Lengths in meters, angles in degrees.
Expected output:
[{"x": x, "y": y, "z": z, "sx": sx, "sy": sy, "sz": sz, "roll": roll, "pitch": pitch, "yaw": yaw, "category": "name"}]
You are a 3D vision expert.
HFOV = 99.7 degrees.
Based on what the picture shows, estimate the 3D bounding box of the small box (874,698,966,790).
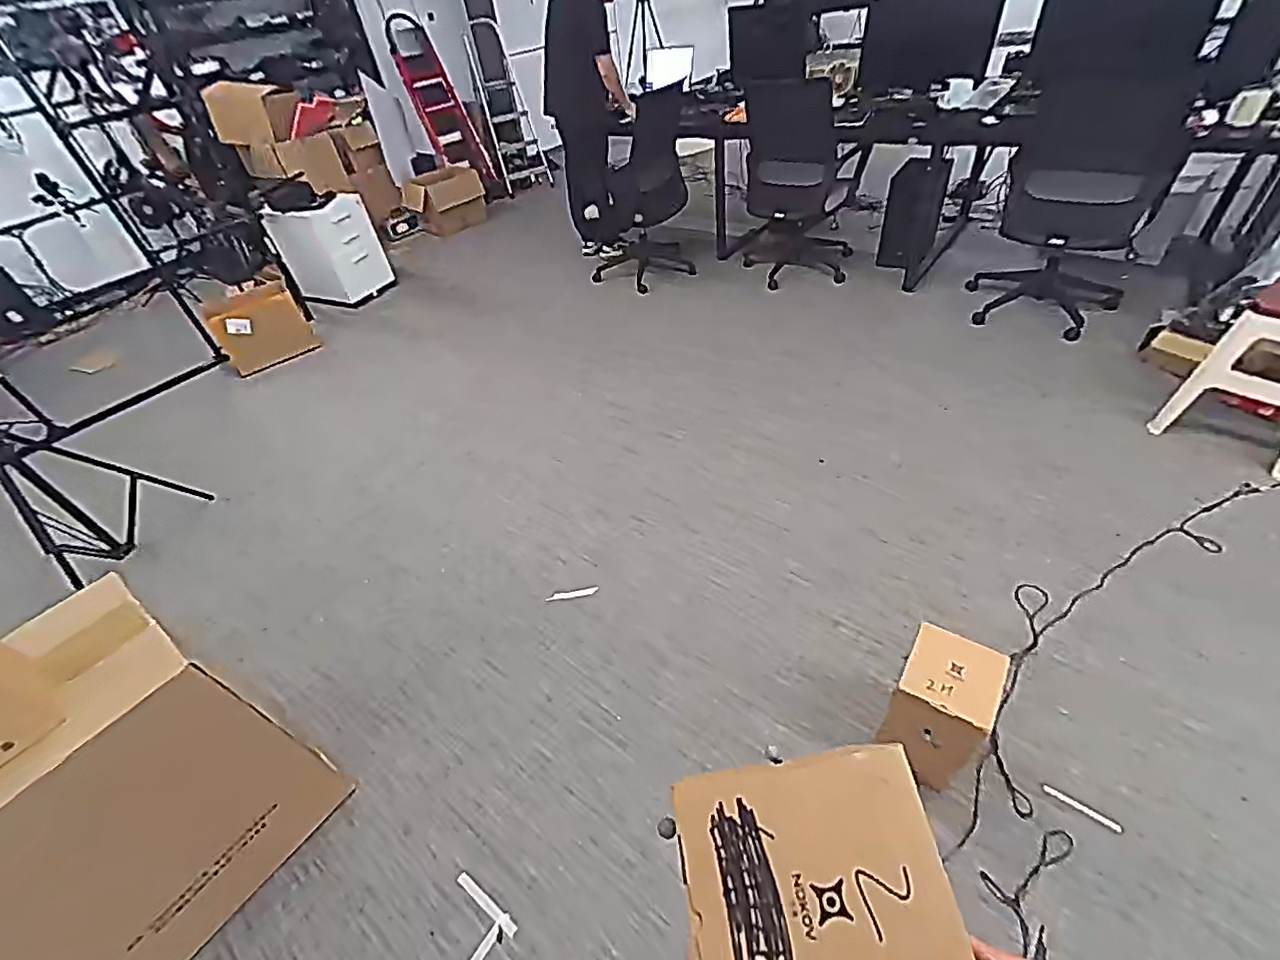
[{"x": 0.648, "y": 0.553, "z": 1.222, "sx": 0.168, "sy": 0.176, "sz": 0.179, "roll": 23, "pitch": 52, "yaw": 31, "category": "small box"}]

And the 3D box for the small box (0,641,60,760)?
[{"x": -1.055, "y": 0.345, "z": 0.824, "sx": 0.179, "sy": 0.176, "sz": 0.168, "roll": 24, "pitch": 52, "yaw": 32, "category": "small box"}]

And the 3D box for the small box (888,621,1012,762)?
[{"x": 0.628, "y": 0.433, "z": 1.110, "sx": 0.168, "sy": 0.176, "sz": 0.179, "roll": 22, "pitch": 51, "yaw": 30, "category": "small box"}]
